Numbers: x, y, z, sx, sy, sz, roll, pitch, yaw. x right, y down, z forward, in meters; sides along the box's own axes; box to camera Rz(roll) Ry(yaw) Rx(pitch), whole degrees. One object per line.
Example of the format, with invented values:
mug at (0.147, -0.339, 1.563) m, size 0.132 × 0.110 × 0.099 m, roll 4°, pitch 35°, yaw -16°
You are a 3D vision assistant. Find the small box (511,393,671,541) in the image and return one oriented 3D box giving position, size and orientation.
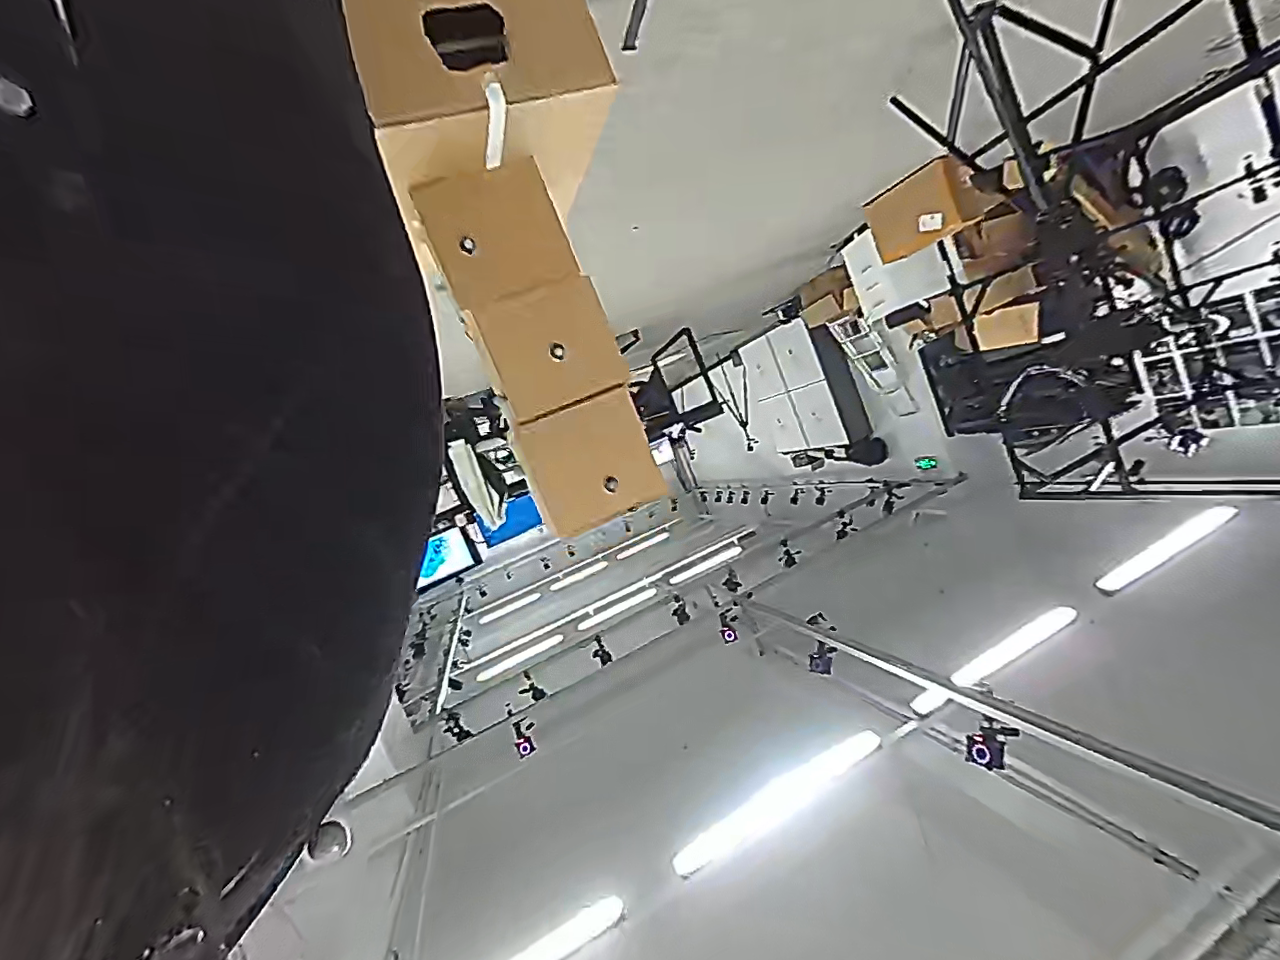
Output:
small box at (-0.082, -0.023, 0.840) m, size 0.179 × 0.176 × 0.168 m, roll -24°, pitch -175°, yaw -15°

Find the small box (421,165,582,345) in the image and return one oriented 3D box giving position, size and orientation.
small box at (-0.206, -0.326, 0.801) m, size 0.179 × 0.176 × 0.168 m, roll -24°, pitch -174°, yaw -12°
